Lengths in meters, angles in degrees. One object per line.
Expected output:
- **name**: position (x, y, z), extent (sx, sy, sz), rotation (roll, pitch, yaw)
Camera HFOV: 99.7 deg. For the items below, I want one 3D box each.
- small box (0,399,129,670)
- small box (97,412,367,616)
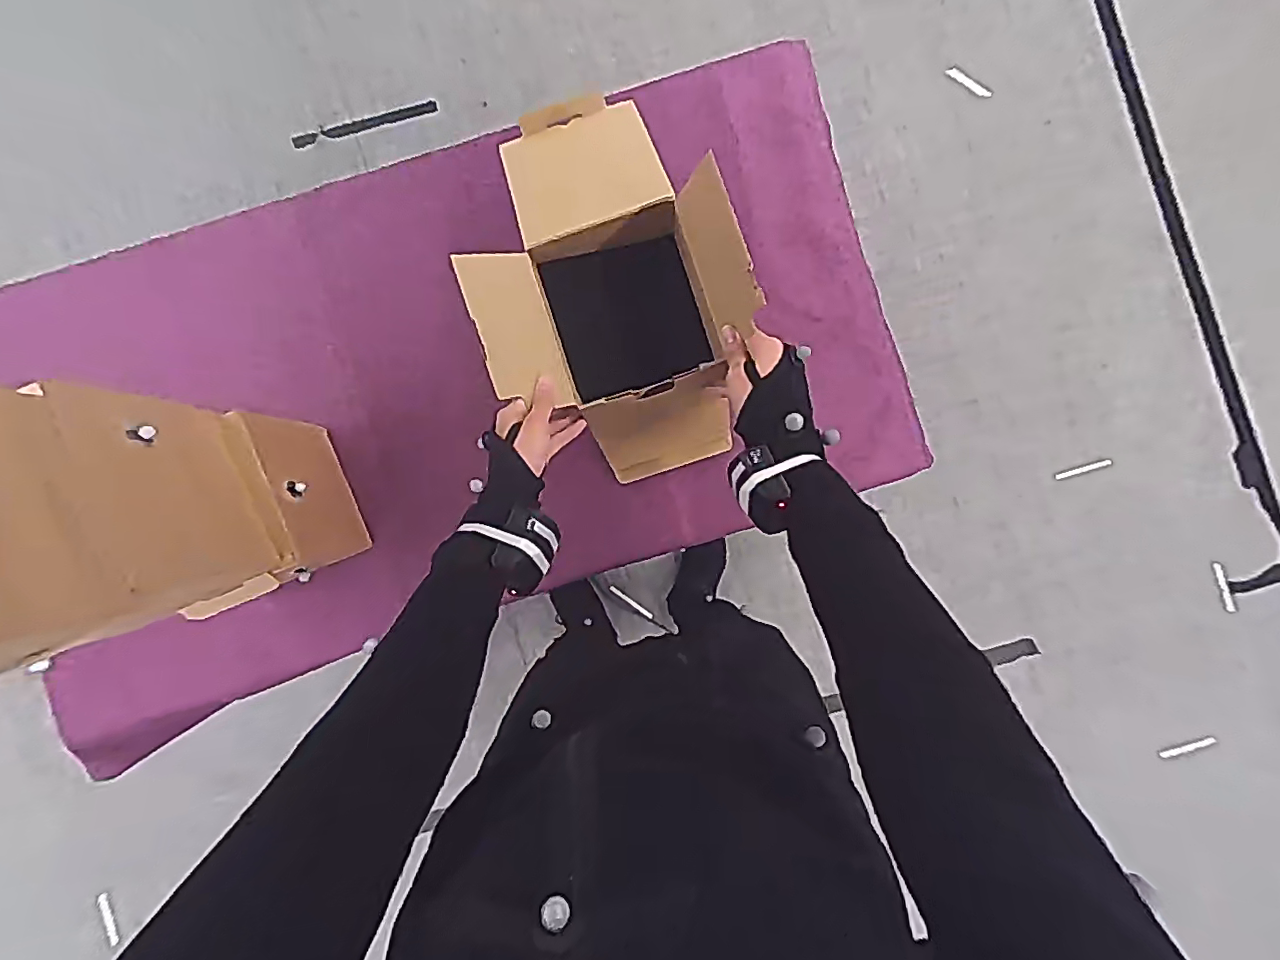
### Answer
- **small box**: position (-0.473, 0.045, 0.315), extent (0.168, 0.176, 0.179), rotation (-24, 89, 0)
- **small box**: position (-0.463, 0.035, 0.645), extent (0.168, 0.176, 0.179), rotation (-21, 90, -1)
